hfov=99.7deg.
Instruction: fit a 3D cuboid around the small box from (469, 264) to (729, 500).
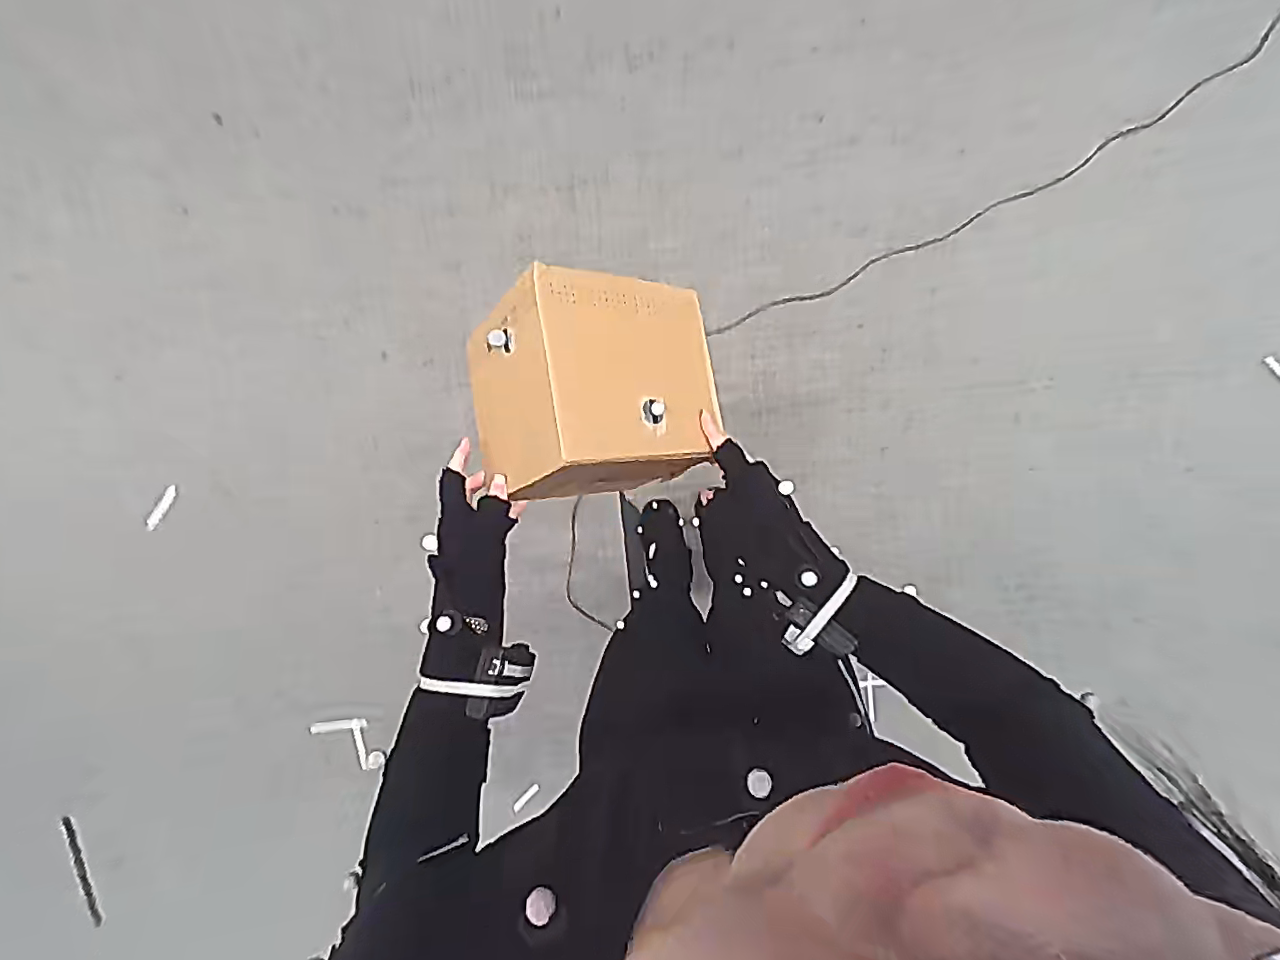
[{"bbox_3d":[-0.045,-0.083,0.517,0.179,0.168,0.176,-5,81,-37],"label":"small box"}]
